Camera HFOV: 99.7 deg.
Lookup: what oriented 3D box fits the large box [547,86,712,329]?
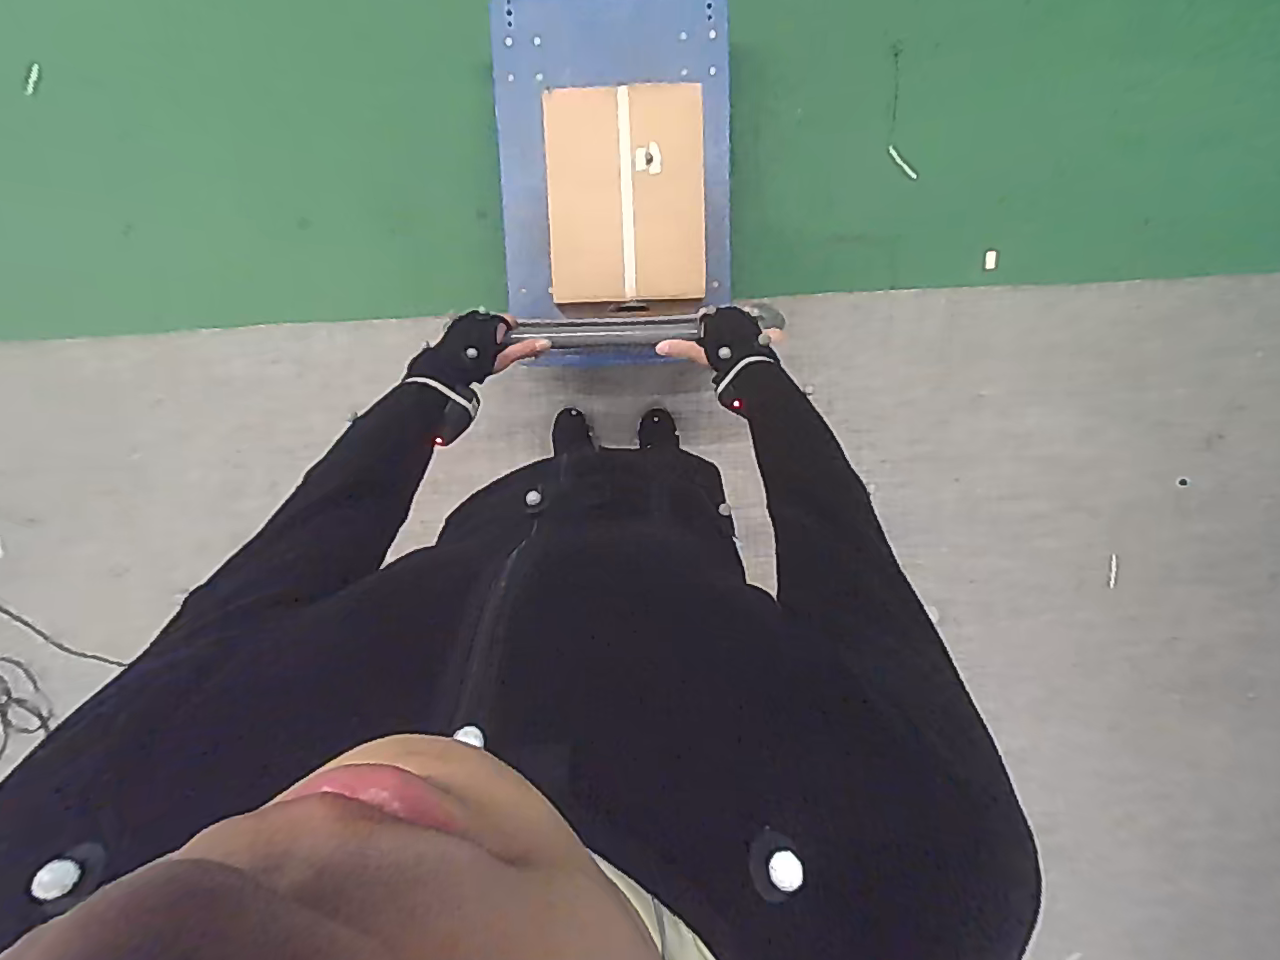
[{"bbox_3d":[-0.018,-0.571,1.209,0.320,0.320,0.408,-2,97,-1],"label":"large box"}]
